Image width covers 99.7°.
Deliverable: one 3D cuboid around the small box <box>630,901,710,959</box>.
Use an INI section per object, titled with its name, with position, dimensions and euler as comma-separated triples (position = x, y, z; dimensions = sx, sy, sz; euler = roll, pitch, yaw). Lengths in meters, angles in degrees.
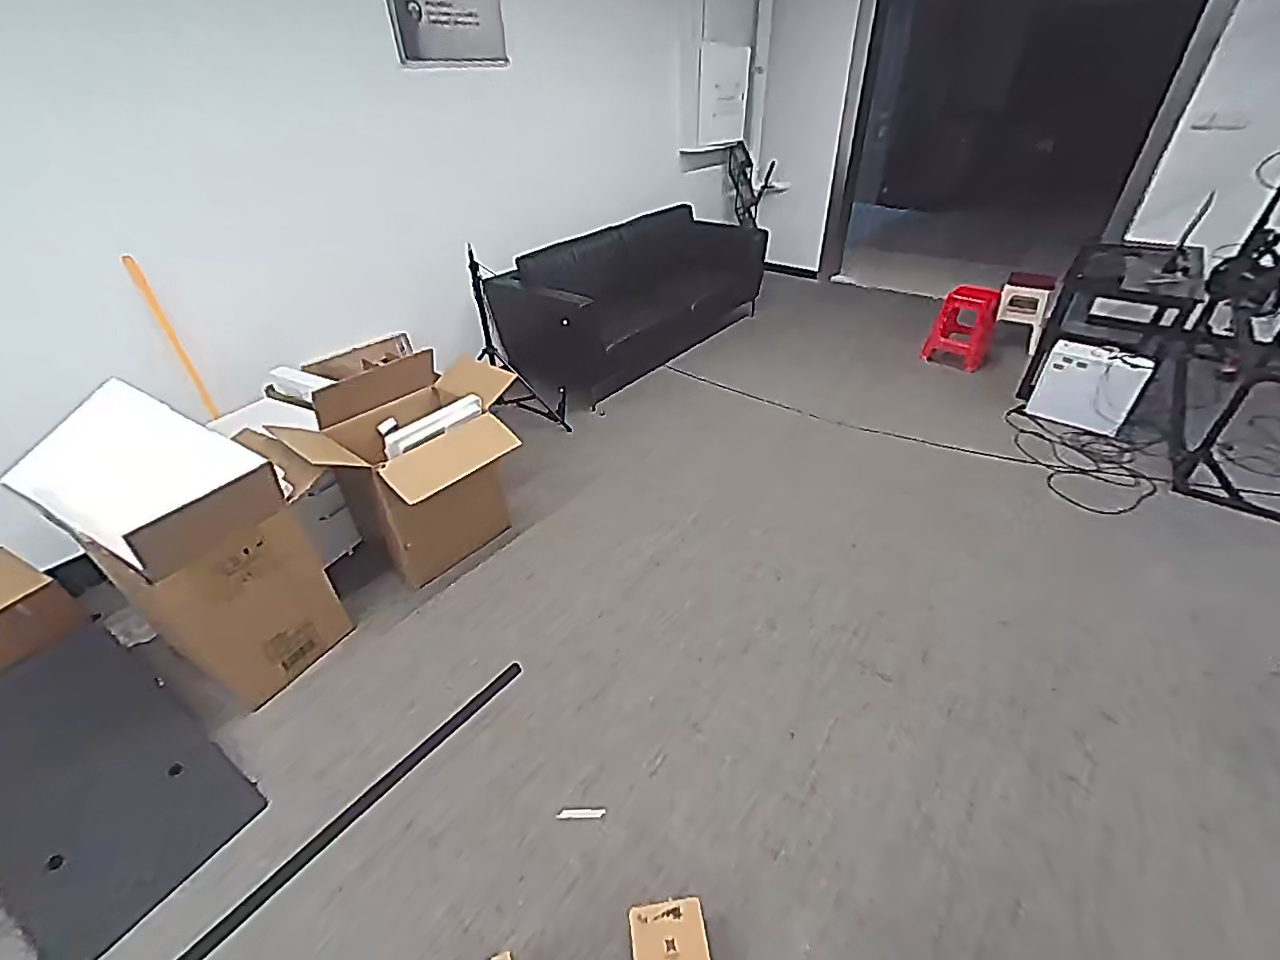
[small box]
position = 0.070, 1.084, 1.210
dimensions = 0.168, 0.176, 0.179
euler = -5, 37, -5
